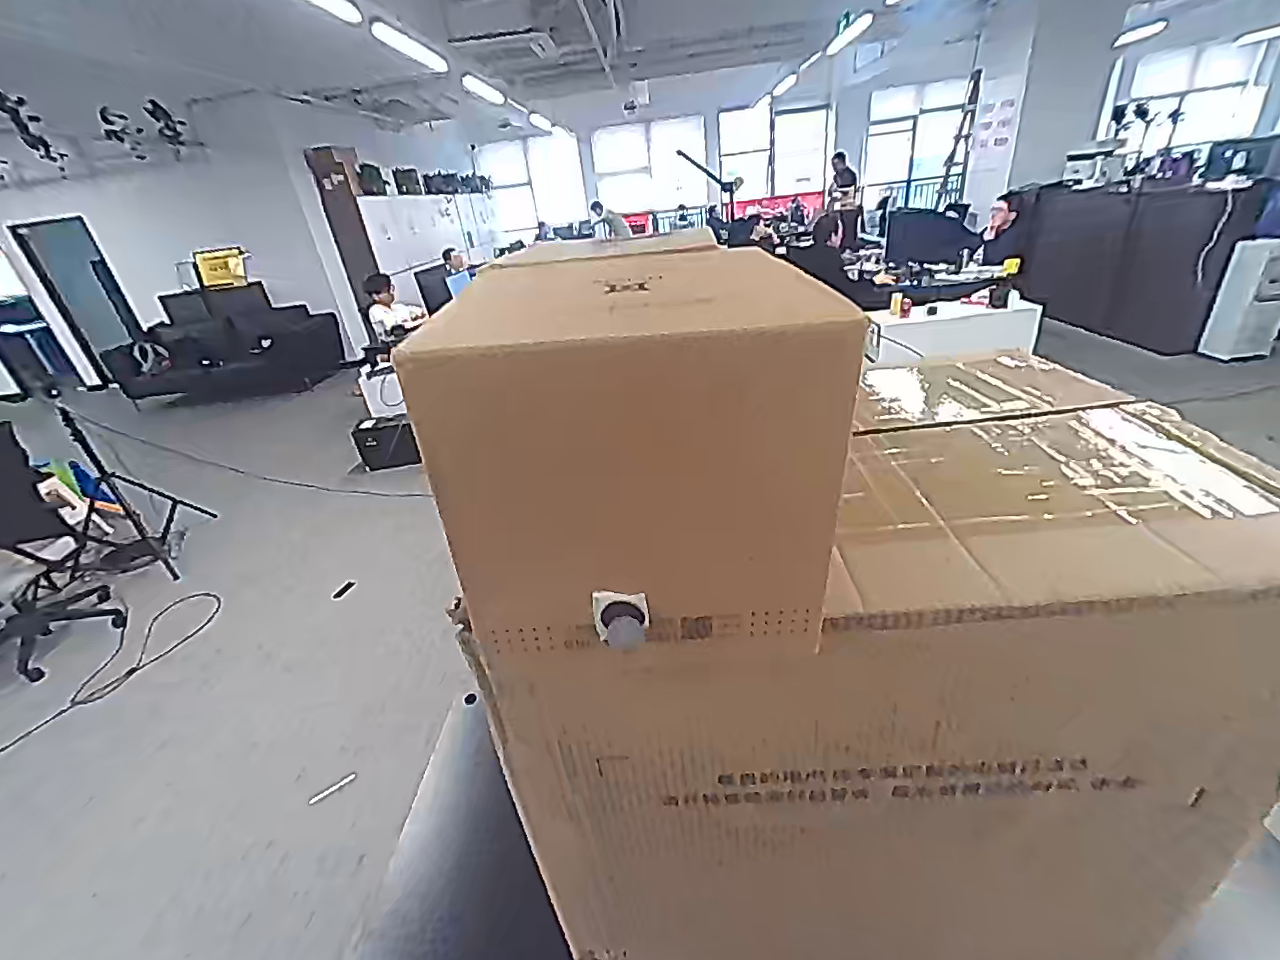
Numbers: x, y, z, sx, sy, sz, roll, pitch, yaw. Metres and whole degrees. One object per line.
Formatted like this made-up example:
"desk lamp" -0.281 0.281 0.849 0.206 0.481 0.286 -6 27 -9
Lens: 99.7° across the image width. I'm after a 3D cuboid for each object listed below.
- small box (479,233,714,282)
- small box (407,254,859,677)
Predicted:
"small box" -0.017 -0.112 0.472 0.168 0.176 0.179 -4 28 7
"small box" -0.002 -0.019 0.303 0.168 0.176 0.179 -6 32 -1
